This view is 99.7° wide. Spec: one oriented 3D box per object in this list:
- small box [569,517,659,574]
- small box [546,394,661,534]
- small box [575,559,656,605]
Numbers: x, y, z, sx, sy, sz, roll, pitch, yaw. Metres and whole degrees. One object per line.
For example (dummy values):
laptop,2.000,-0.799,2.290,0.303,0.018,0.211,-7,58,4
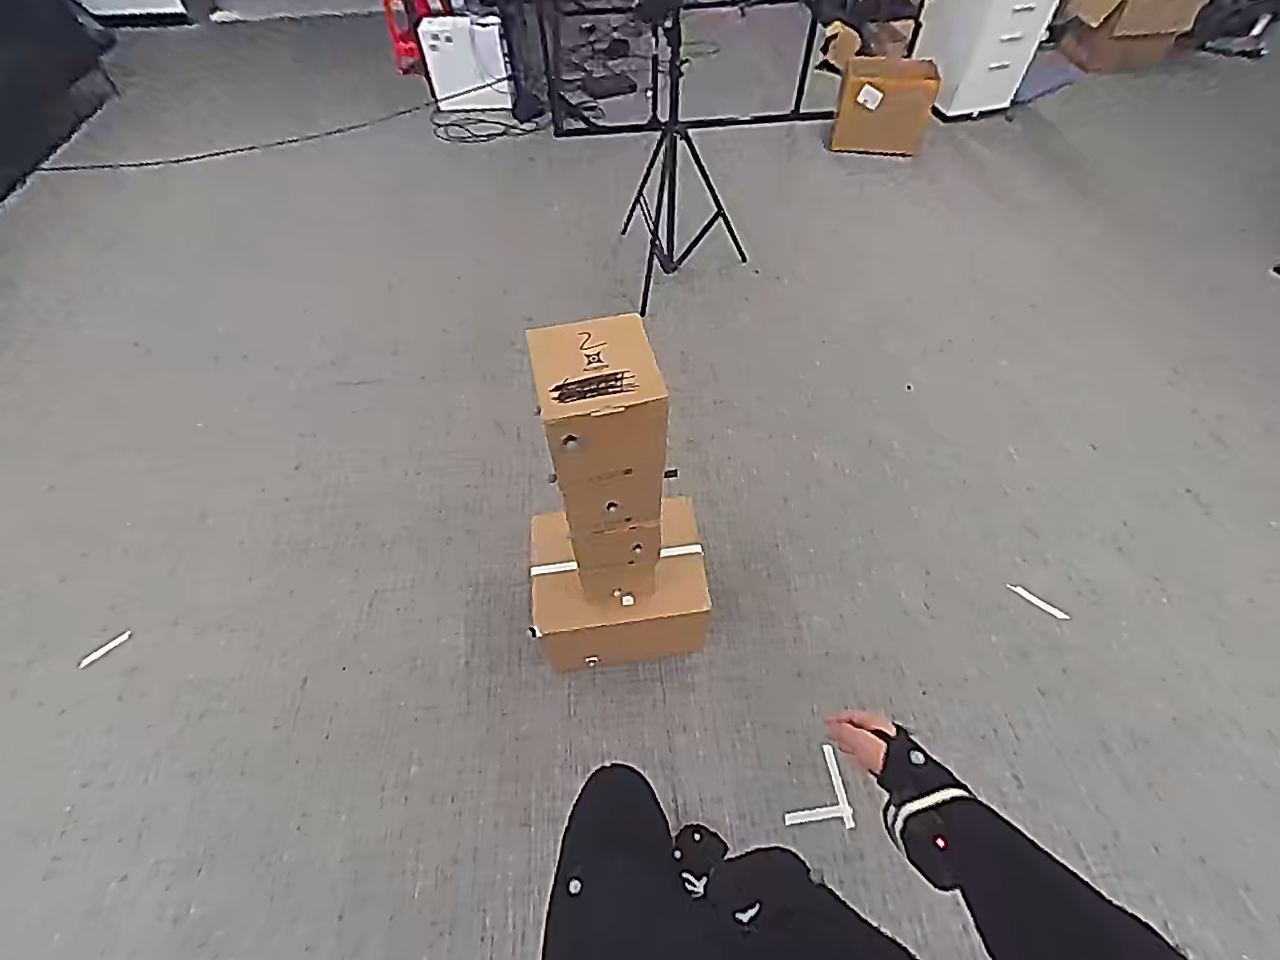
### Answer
small box,-0.055,0.075,1.077,0.168,0.176,0.179,-8,55,-5
small box,-0.062,-0.020,0.942,0.168,0.176,0.179,-11,57,-8
small box,-0.059,0.162,1.214,0.168,0.176,0.179,-7,57,-4
